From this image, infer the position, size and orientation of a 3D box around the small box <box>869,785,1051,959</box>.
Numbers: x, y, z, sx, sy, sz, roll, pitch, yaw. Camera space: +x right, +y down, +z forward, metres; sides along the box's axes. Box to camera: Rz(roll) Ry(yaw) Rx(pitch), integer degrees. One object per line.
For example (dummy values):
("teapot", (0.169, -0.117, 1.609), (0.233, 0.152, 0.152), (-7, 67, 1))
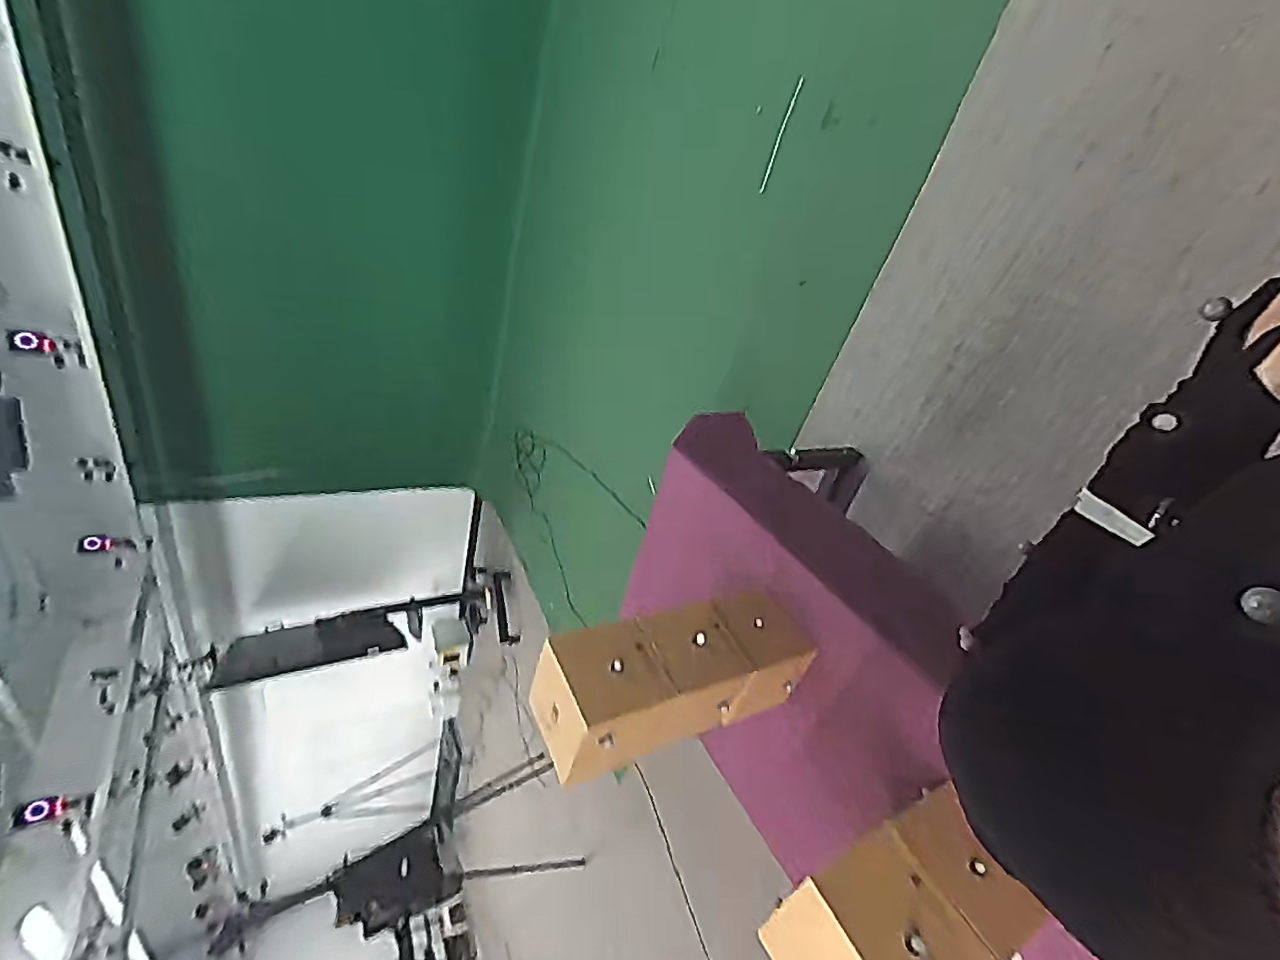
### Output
("small box", (0.425, 0.571, 0.773), (0.179, 0.176, 0.168), (49, 132, 43))

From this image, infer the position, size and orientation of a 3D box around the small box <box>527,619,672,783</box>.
("small box", (-0.068, 0.359, 0.905), (0.168, 0.176, 0.179), (52, 135, 41))

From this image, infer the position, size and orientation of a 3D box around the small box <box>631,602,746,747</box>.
("small box", (0.069, 0.348, 0.997), (0.168, 0.176, 0.179), (53, 134, 40))

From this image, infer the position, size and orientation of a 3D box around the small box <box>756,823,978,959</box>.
("small box", (0.287, 0.582, 0.688), (0.168, 0.176, 0.179), (50, 134, 42))
